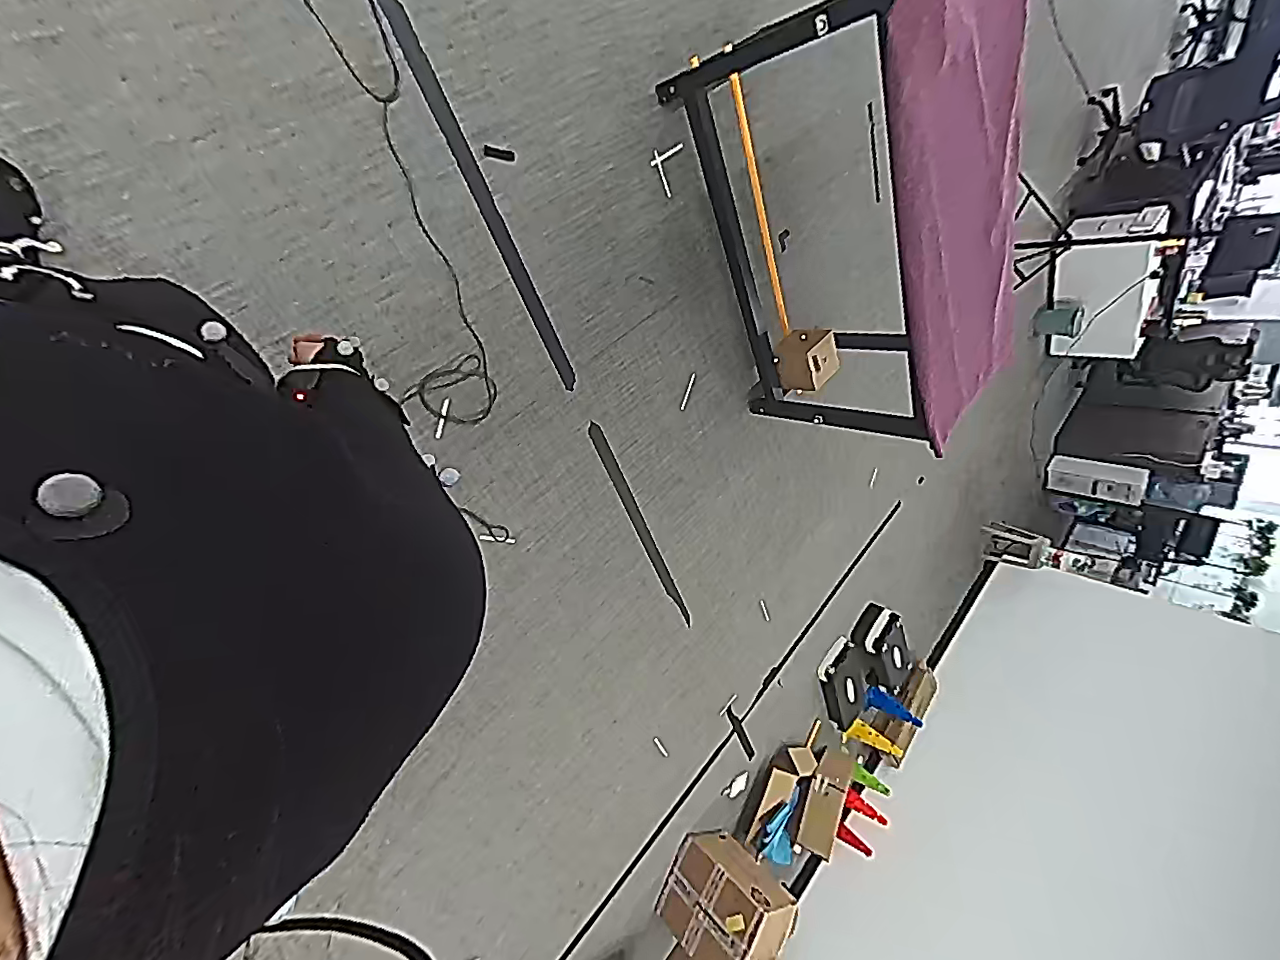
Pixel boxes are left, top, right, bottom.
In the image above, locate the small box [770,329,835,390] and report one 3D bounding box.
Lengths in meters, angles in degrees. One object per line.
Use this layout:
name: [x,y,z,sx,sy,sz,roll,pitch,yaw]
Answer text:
small box: [0.611,-0.460,2.055,0.179,0.176,0.168,-42,127,-25]
